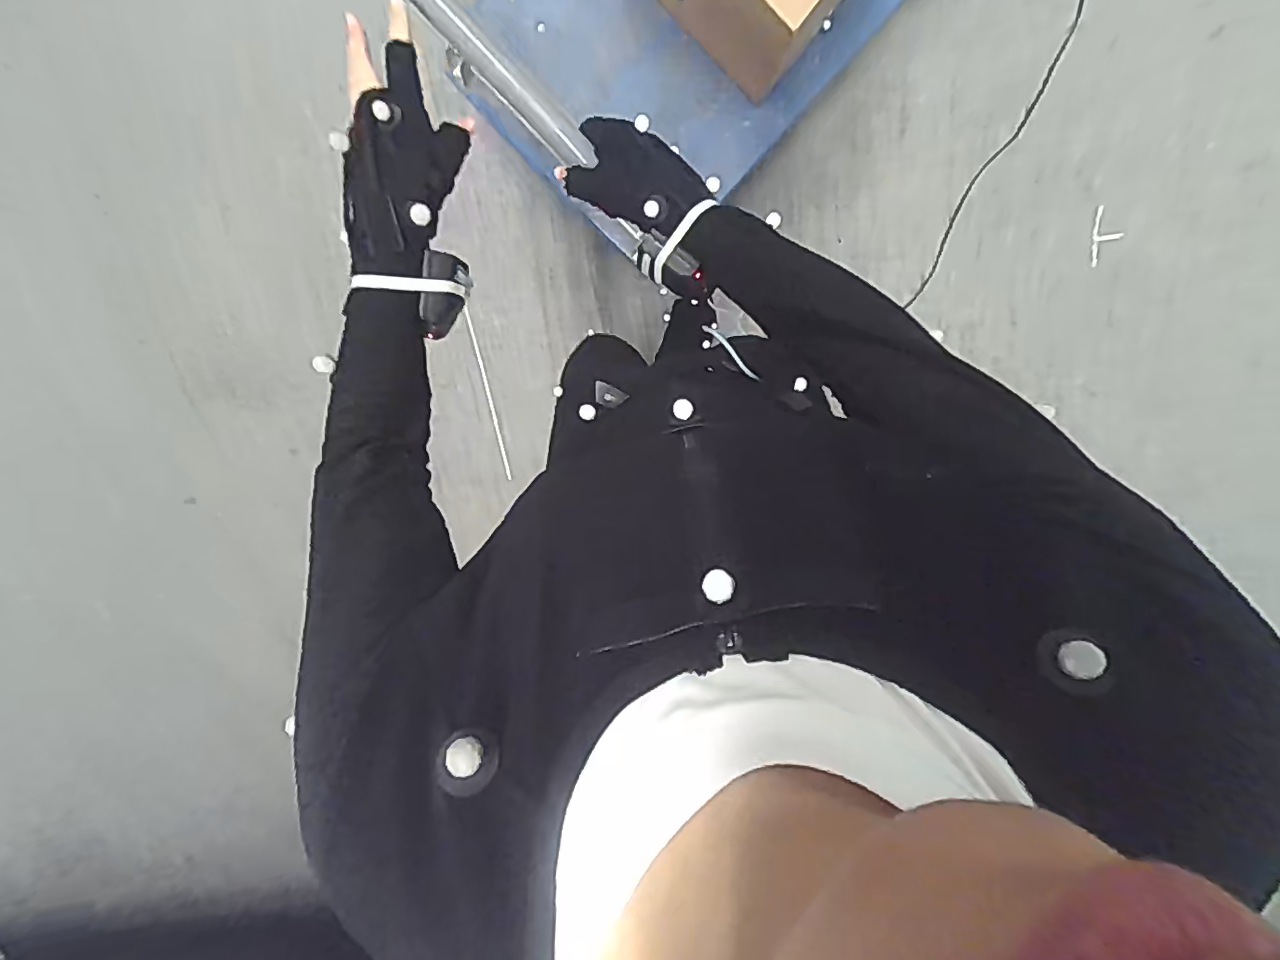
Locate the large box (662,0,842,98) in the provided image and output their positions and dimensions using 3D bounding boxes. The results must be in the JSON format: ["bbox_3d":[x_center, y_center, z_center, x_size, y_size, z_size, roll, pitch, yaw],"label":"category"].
[{"bbox_3d":[0.179,-0.921,0.843,0.408,0.320,0.320,40,105,-9],"label":"large box"}]
